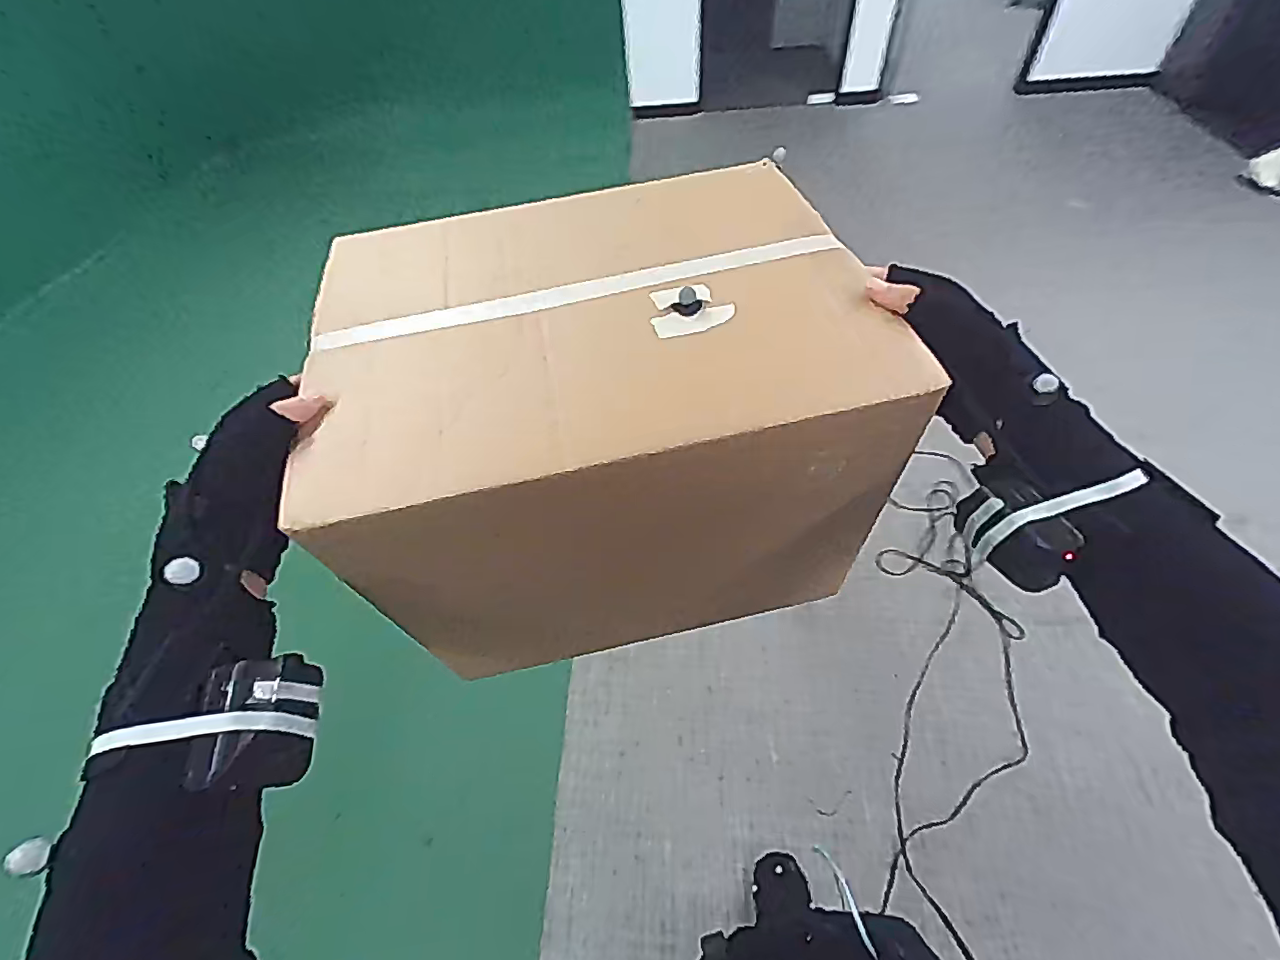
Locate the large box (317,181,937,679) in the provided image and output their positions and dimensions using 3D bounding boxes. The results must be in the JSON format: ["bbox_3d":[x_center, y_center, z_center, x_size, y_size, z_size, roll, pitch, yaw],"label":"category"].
[{"bbox_3d":[-0.022,-0.041,0.538,0.408,0.320,0.320,-12,55,-4],"label":"large box"}]
